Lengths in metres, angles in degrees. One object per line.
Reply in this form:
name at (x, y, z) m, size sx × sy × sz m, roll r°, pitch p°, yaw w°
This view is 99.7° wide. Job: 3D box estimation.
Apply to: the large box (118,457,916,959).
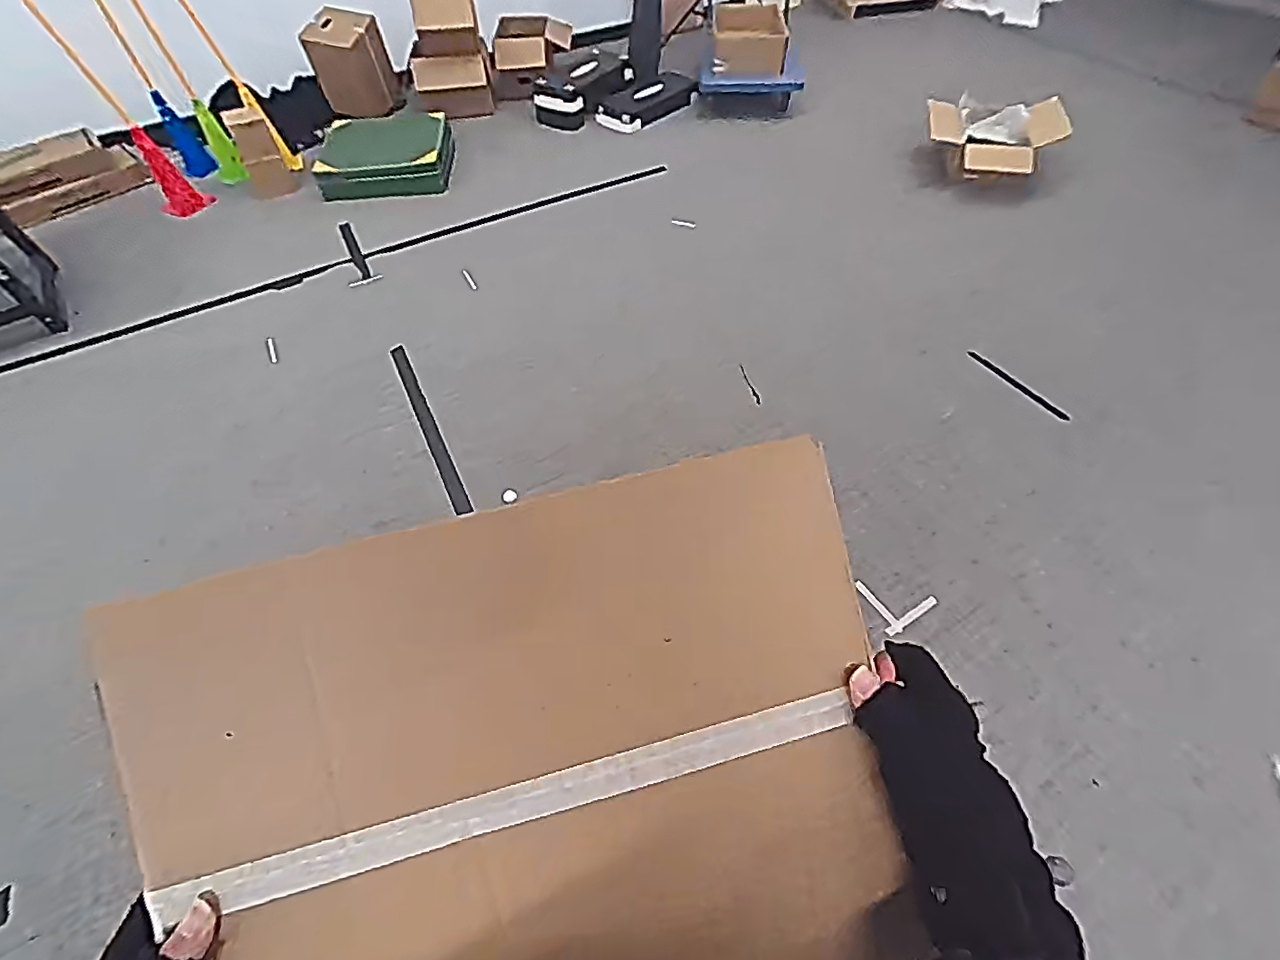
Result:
large box at (-0.069, 0.184, 0.459) m, size 0.408 × 0.320 × 0.320 m, roll -14°, pitch 89°, yaw -6°
